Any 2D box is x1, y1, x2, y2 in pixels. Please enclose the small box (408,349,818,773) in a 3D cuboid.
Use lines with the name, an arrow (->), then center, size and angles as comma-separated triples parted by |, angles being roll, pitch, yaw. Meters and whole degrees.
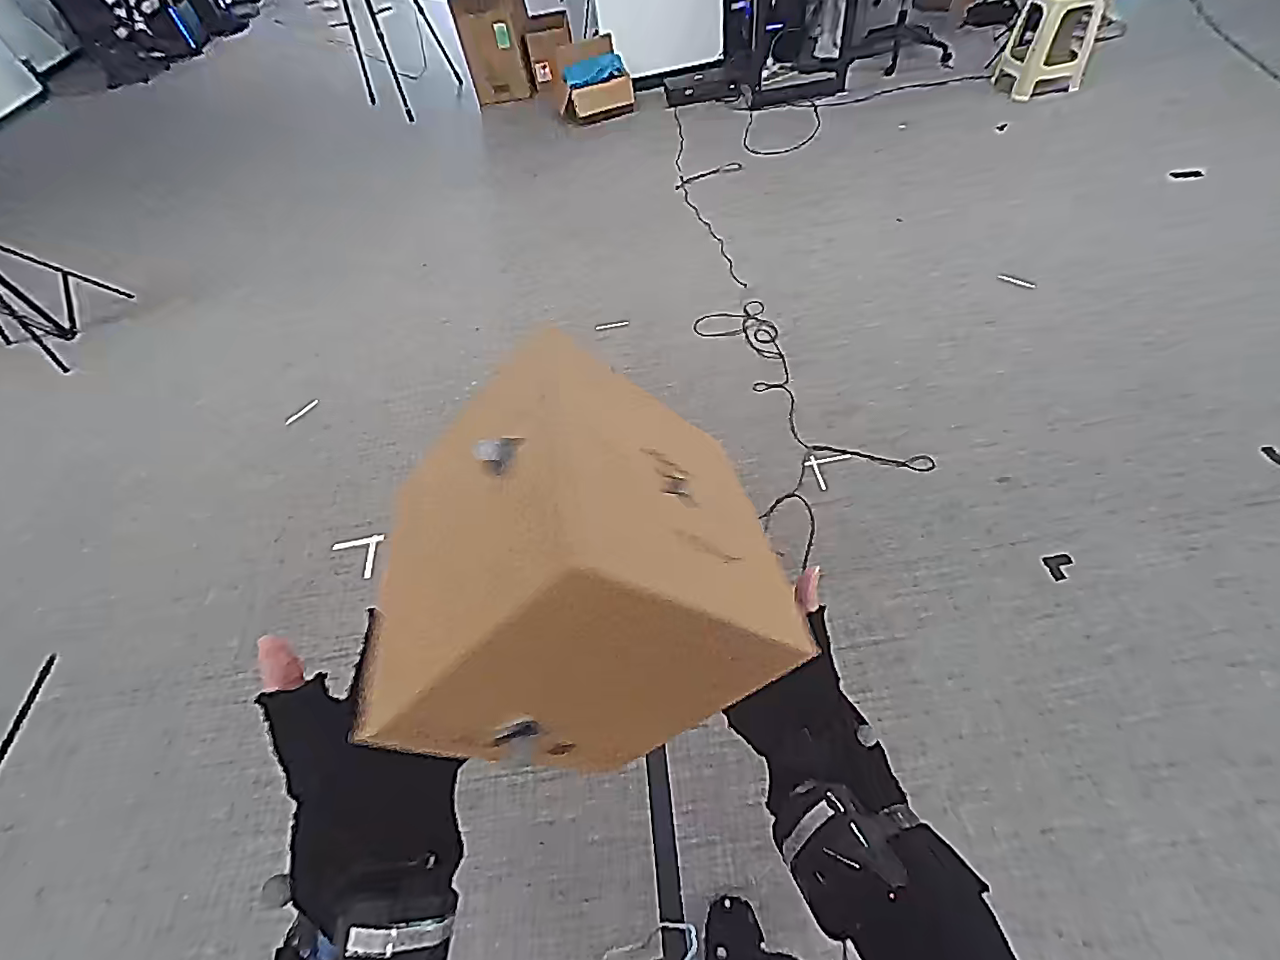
small box -> -0.027, 0.058, 0.350 | 0.176, 0.168, 0.179 | -41, 39, 23
